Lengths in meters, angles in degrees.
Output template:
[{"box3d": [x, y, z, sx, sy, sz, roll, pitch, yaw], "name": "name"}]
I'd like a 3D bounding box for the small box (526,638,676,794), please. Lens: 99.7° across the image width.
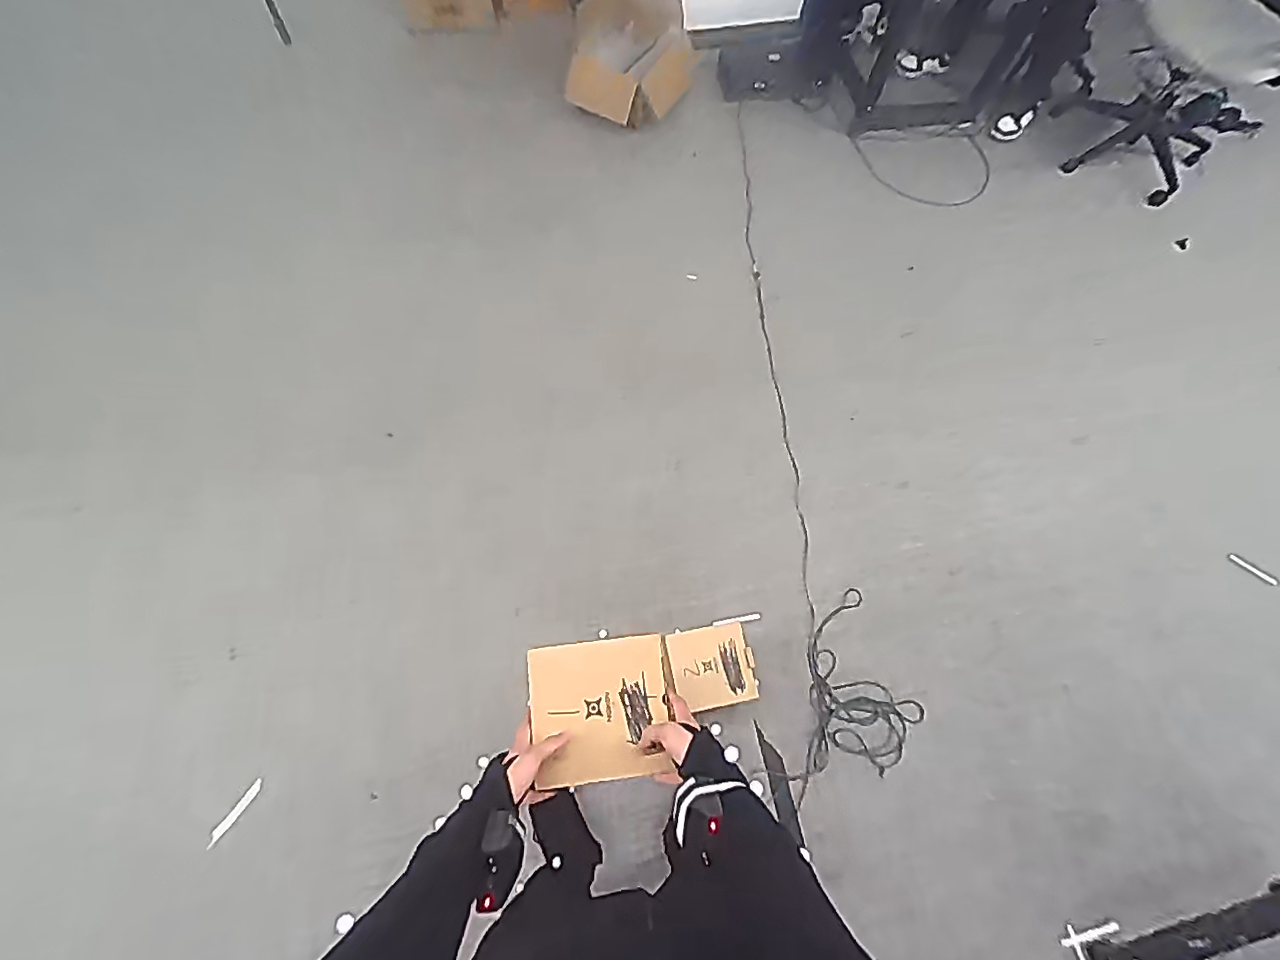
[{"box3d": [-0.055, 0.310, 0.745, 0.179, 0.176, 0.168, -6, 73, -5], "name": "small box"}]
